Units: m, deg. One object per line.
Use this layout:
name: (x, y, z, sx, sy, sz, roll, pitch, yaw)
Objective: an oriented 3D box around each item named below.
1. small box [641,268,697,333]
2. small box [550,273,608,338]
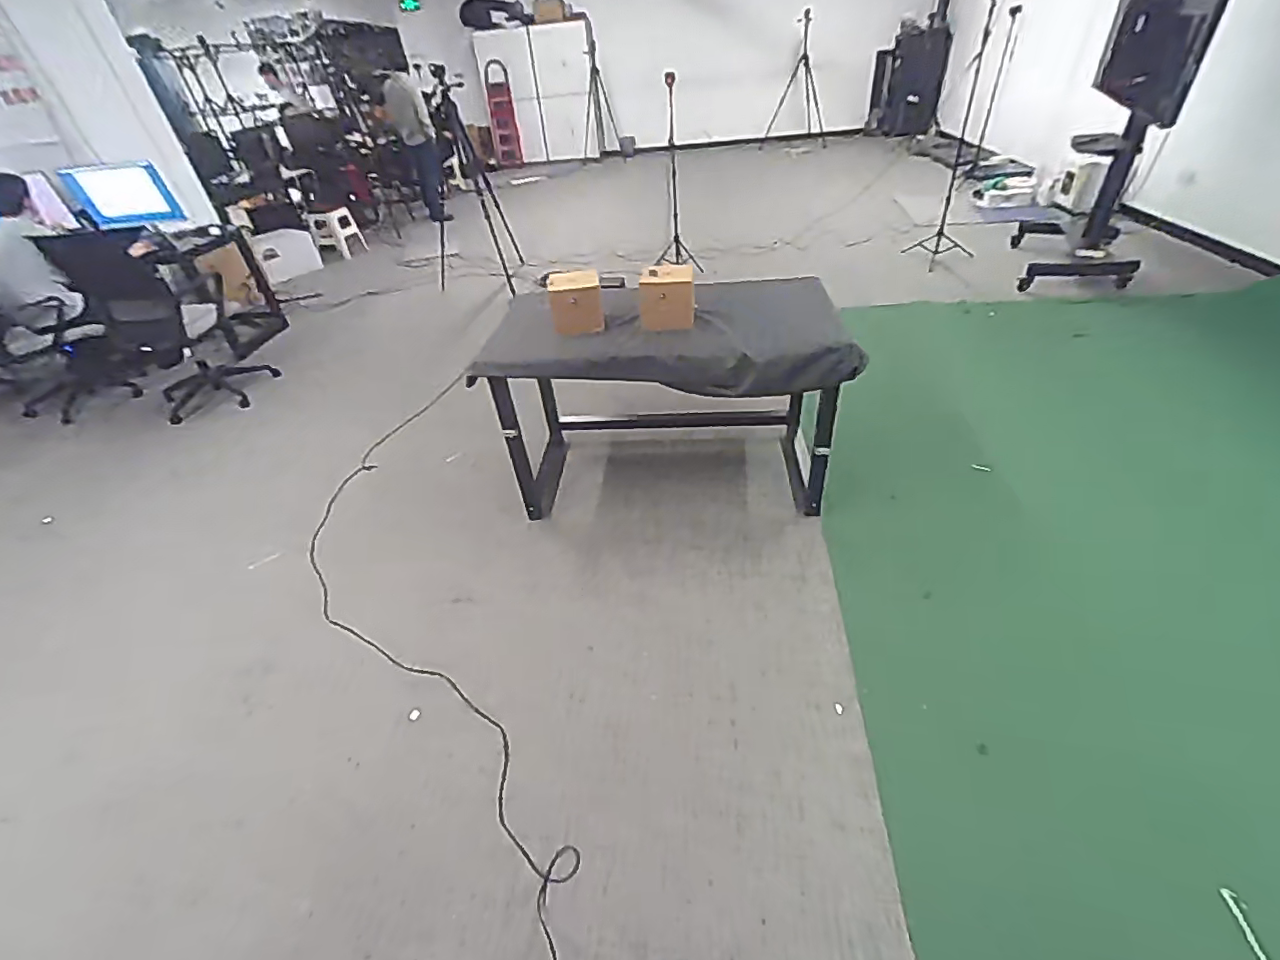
small box: (0.104, -0.614, 1.853, 0.179, 0.176, 0.168, 1, 39, 8)
small box: (-0.210, -0.609, 1.892, 0.179, 0.176, 0.168, -6, 40, -1)
